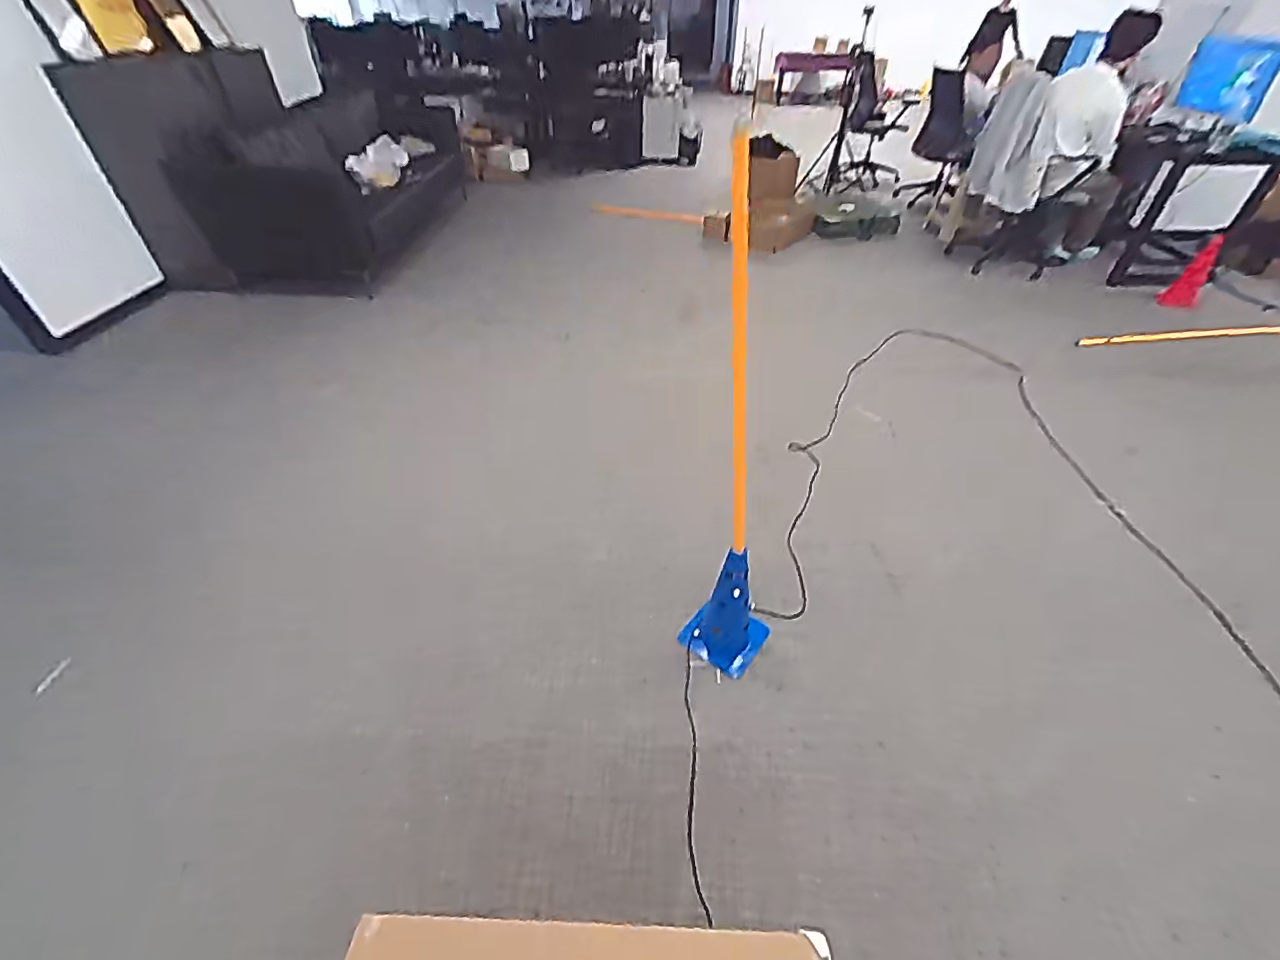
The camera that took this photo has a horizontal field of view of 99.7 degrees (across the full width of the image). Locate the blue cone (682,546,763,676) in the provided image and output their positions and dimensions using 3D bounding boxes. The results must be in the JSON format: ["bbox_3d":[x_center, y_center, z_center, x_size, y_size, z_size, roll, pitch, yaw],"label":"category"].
[{"bbox_3d":[0.228,0.313,1.385,0.192,0.380,0.193,25,47,27],"label":"blue cone"}]
